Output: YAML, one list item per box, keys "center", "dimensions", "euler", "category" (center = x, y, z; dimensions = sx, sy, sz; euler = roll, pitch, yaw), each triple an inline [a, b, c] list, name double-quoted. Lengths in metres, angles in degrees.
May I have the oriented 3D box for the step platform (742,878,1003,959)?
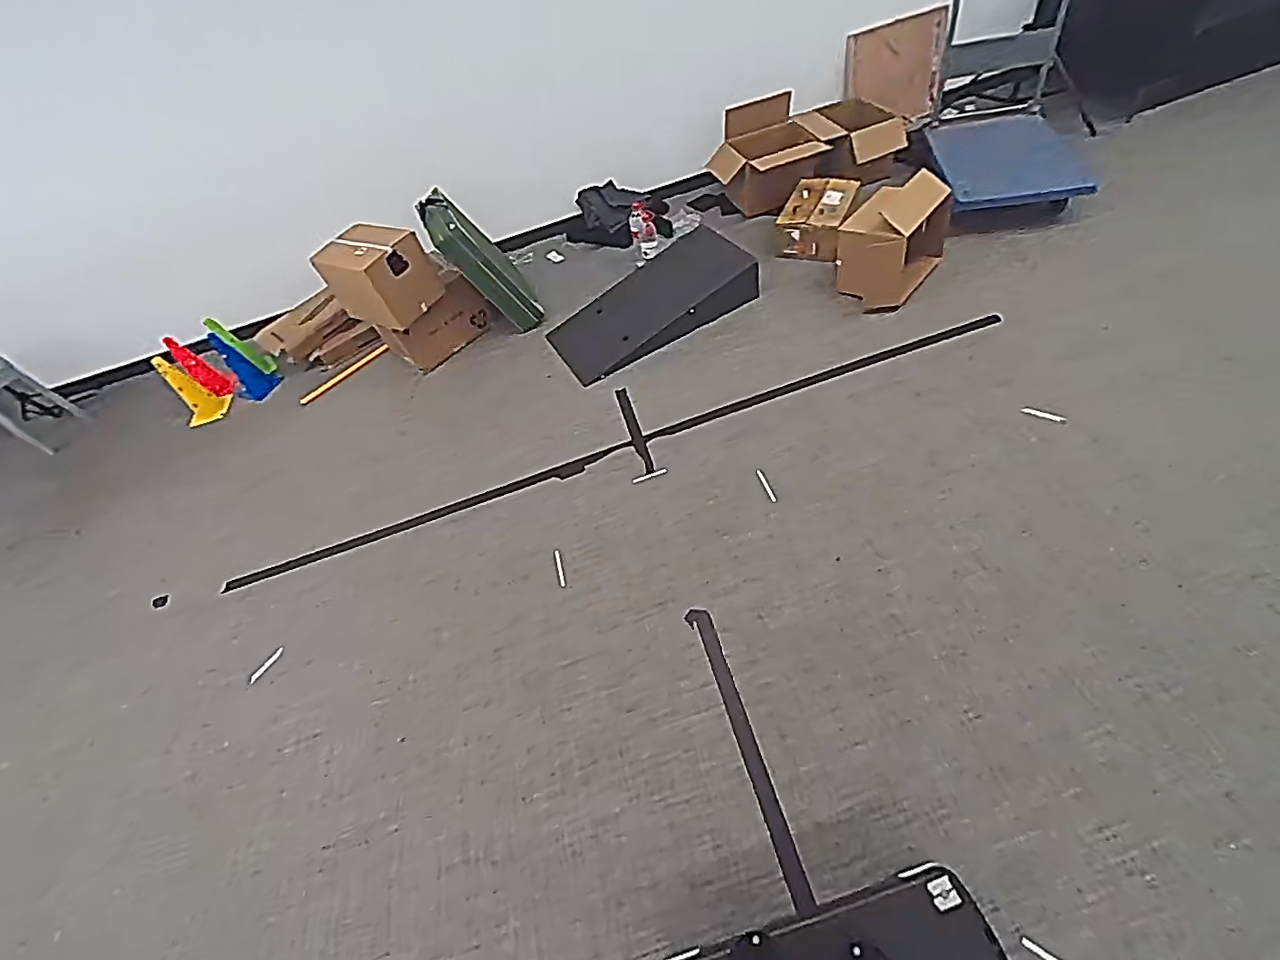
- center: [0.384, 1.061, 1.061]
  dimensions: [0.684, 0.204, 0.286]
  euler: [-19, 51, -3]
  category: "step platform"
